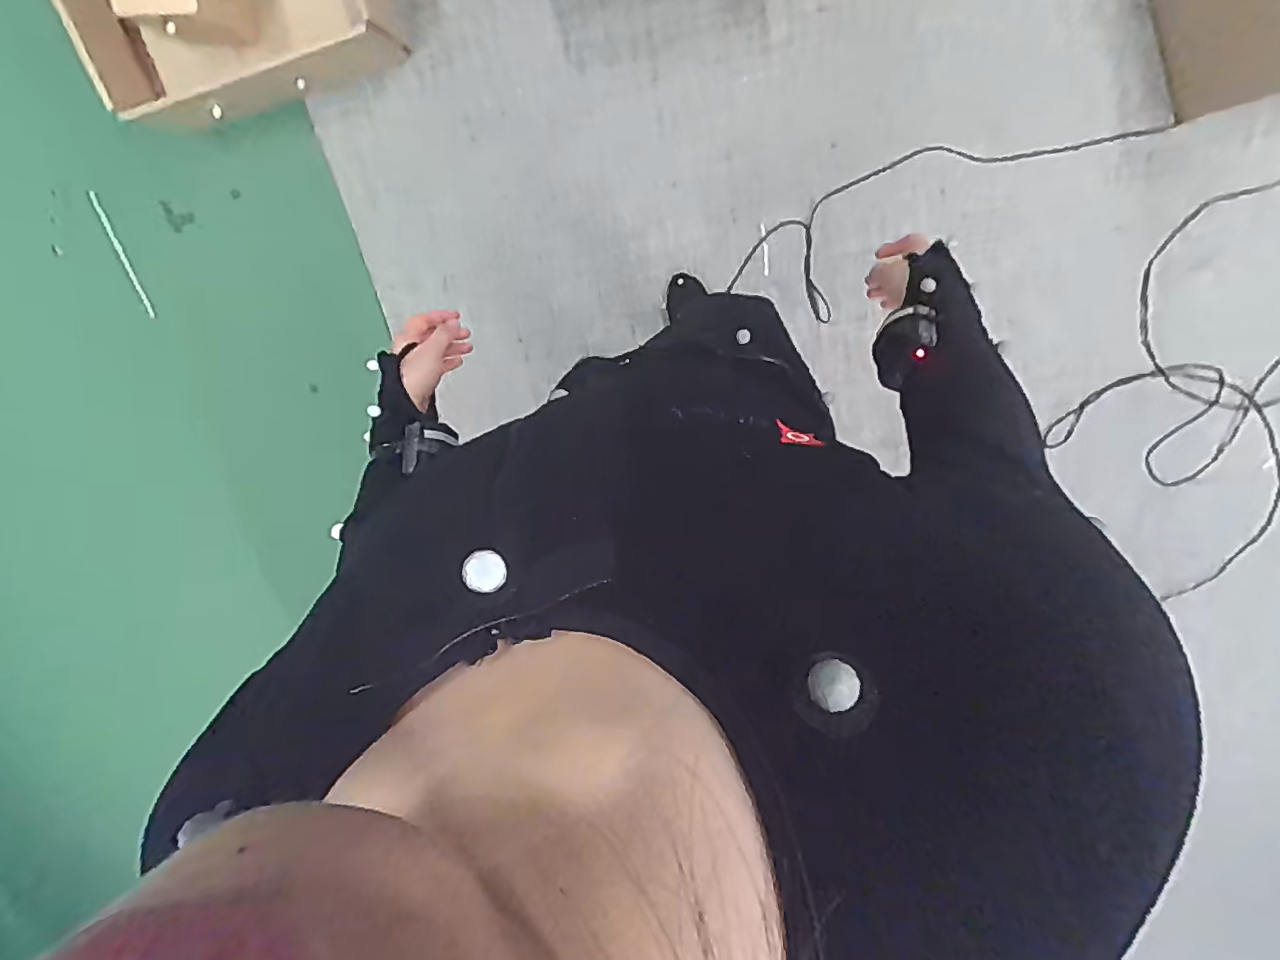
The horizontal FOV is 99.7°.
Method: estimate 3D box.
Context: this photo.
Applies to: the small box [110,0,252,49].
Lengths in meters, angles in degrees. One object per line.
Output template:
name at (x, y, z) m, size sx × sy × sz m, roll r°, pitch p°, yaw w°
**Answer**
small box at (-0.925, -0.995, 1.084) m, size 0.179 × 0.176 × 0.168 m, roll 1°, pitch 112°, yaw 4°
